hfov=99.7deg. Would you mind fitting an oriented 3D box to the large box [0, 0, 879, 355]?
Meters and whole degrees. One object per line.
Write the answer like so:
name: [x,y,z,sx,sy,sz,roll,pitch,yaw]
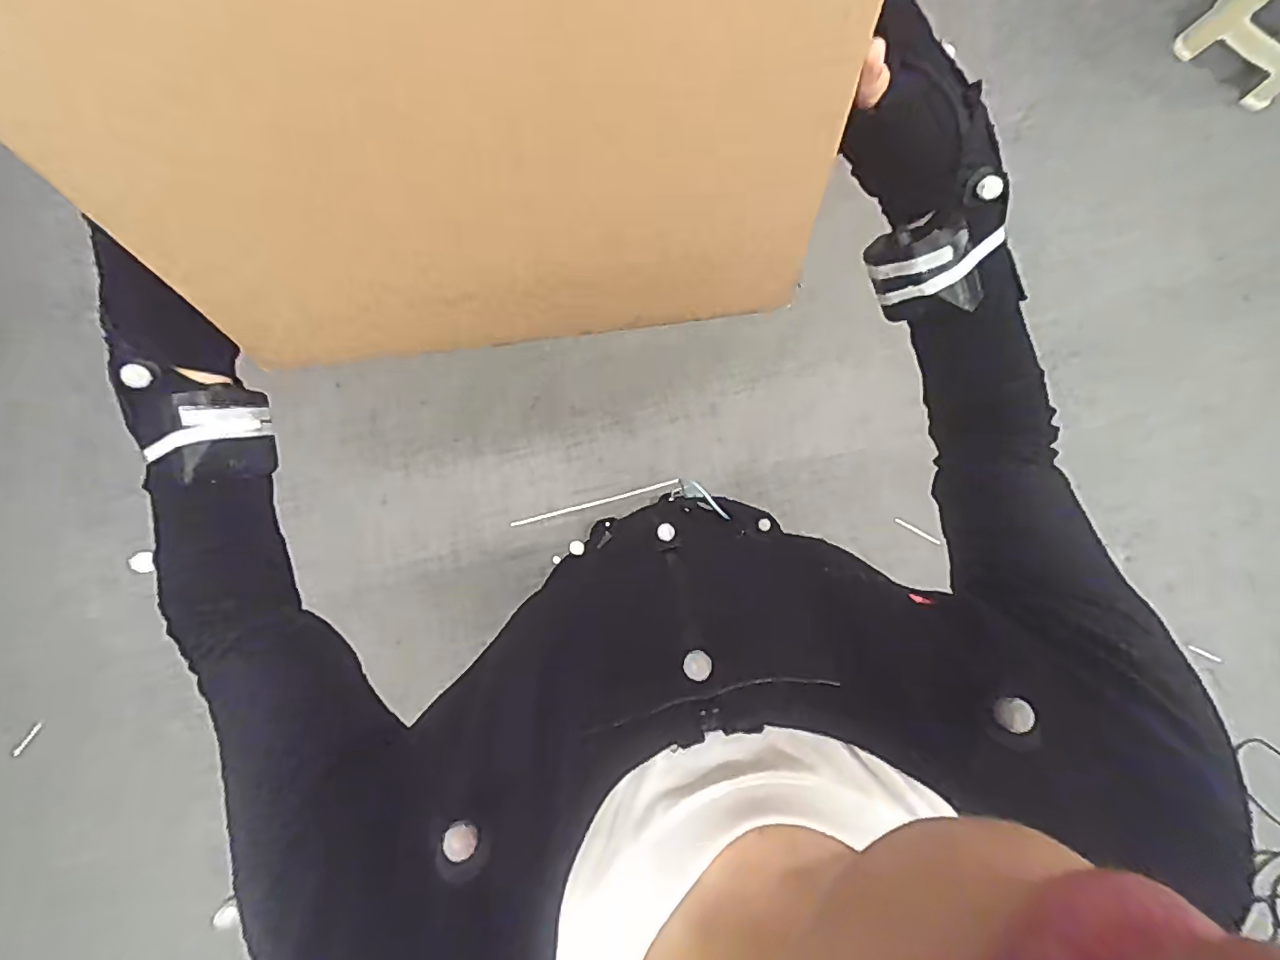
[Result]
large box: [-0.104,-0.311,0.336,0.408,0.320,0.320,-7,68,-1]
